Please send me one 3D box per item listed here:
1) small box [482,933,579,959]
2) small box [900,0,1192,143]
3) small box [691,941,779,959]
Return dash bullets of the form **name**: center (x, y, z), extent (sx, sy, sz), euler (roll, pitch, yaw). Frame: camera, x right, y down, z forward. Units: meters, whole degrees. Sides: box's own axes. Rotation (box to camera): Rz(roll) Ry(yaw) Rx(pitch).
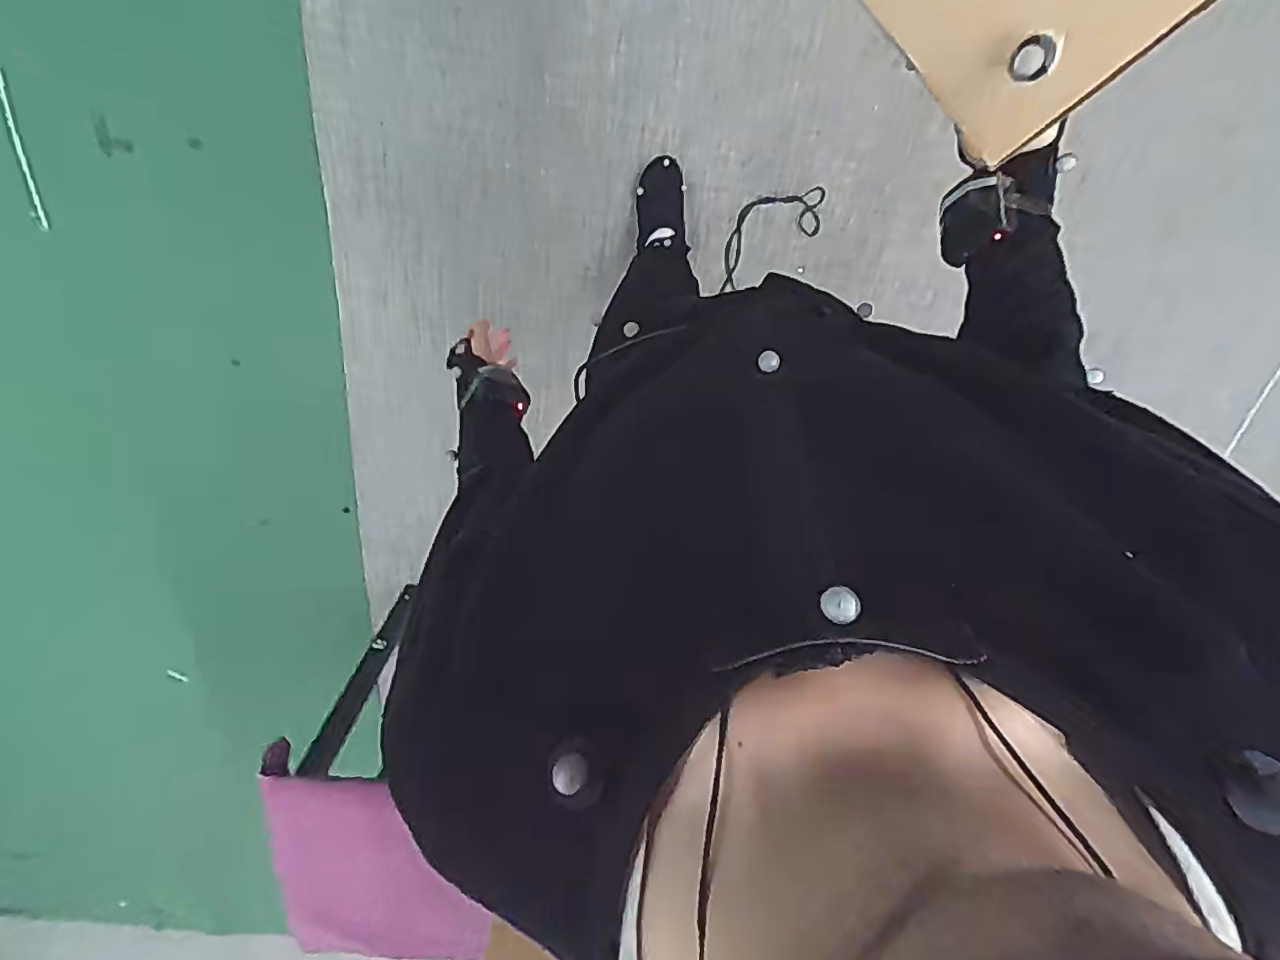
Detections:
- **small box**: center (-0.207, 0.949, 0.966), extent (0.179, 0.176, 0.168), euler (9, 117, -5)
- **small box**: center (0.260, -0.355, 0.321), extent (0.176, 0.168, 0.179), euler (43, 141, -10)
- **small box**: center (0.177, 0.990, 0.993), extent (0.168, 0.176, 0.179), euler (7, 115, -5)
